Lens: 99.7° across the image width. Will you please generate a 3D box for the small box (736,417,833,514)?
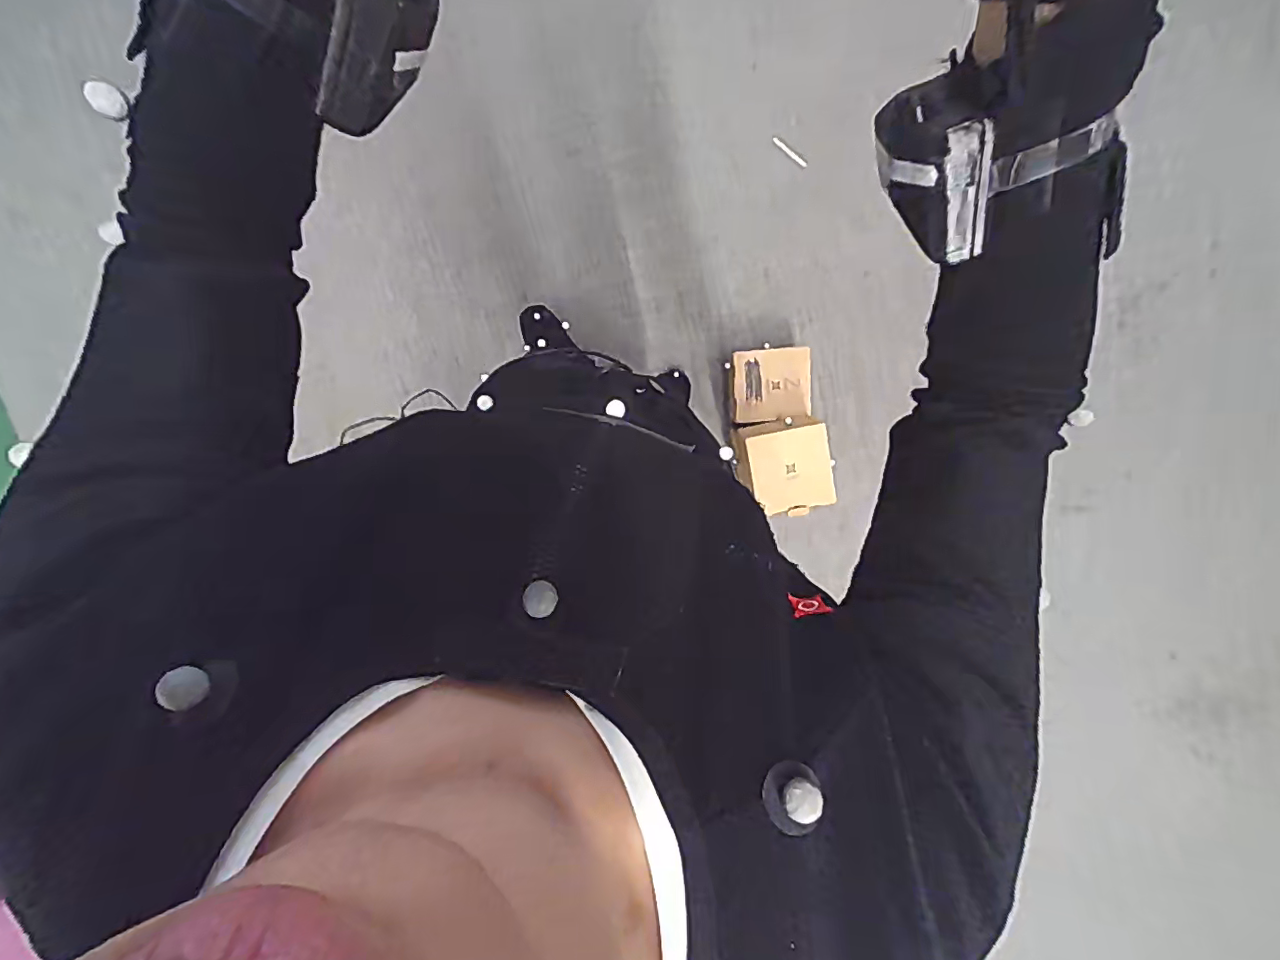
[{"bbox_3d":[0.313,-0.041,1.200,0.168,0.176,0.179,-11,102,7],"label":"small box"}]
